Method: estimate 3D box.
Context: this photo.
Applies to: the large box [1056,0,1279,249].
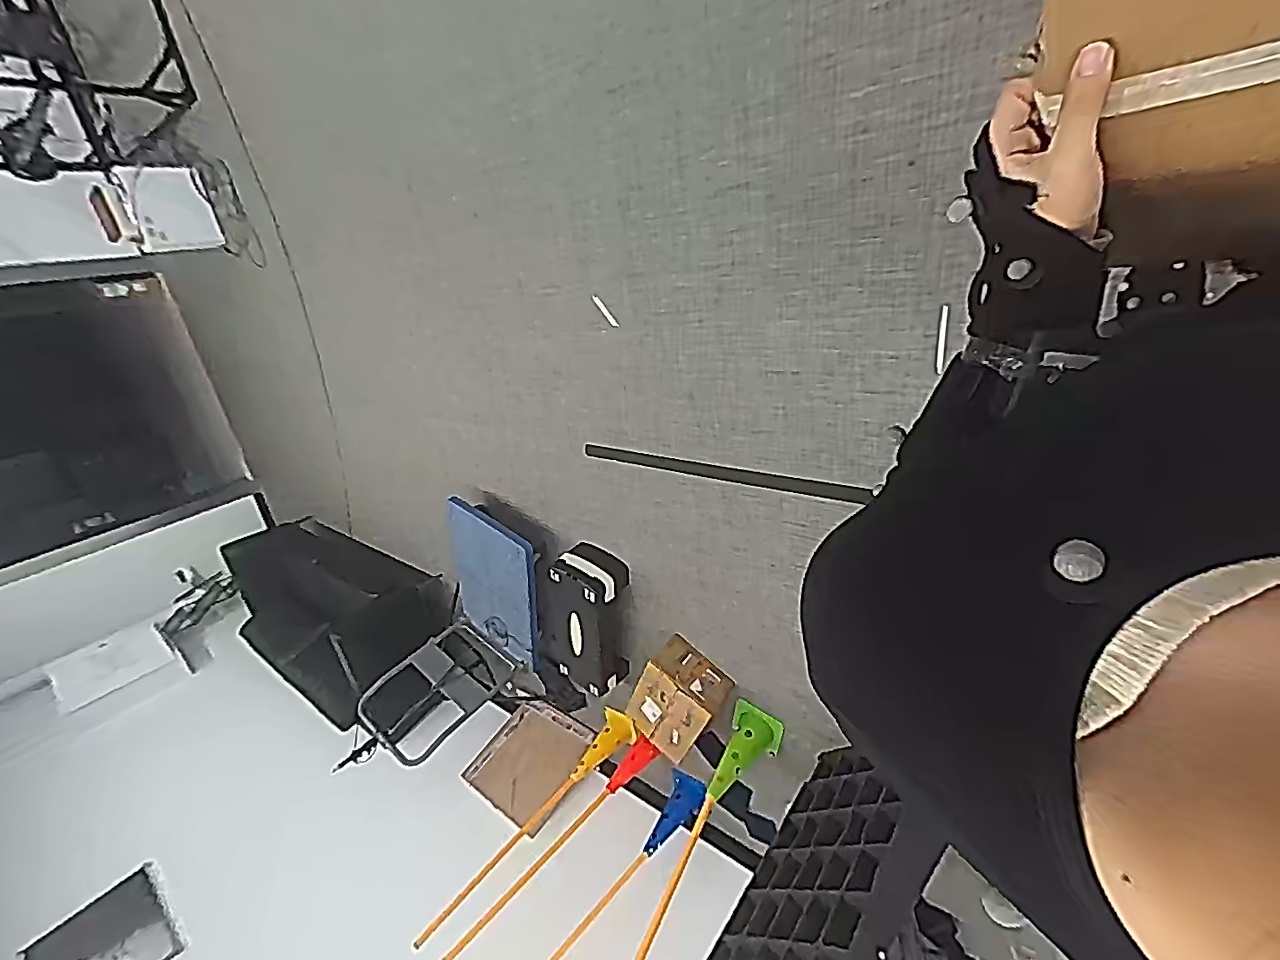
[{"bbox_3d":[0.419,-0.334,0.183,0.408,0.320,0.320,11,79,42],"label":"large box"}]
